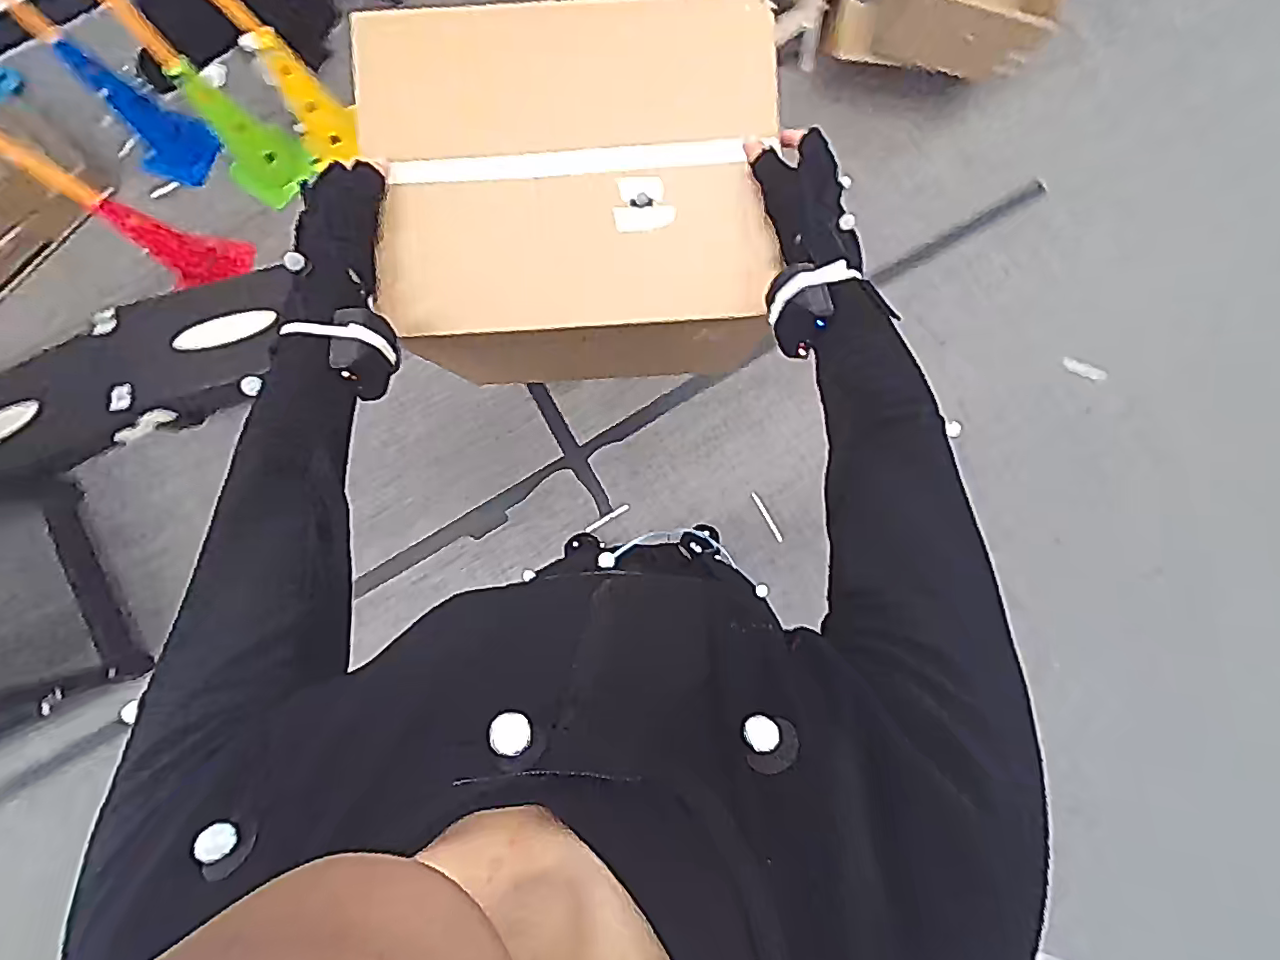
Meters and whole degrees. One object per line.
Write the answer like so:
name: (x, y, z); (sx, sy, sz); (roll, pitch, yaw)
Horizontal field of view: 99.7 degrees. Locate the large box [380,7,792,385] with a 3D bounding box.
large box: (-0.056, -0.309, 0.688); (0.408, 0.320, 0.320); (-3, 92, 0)
